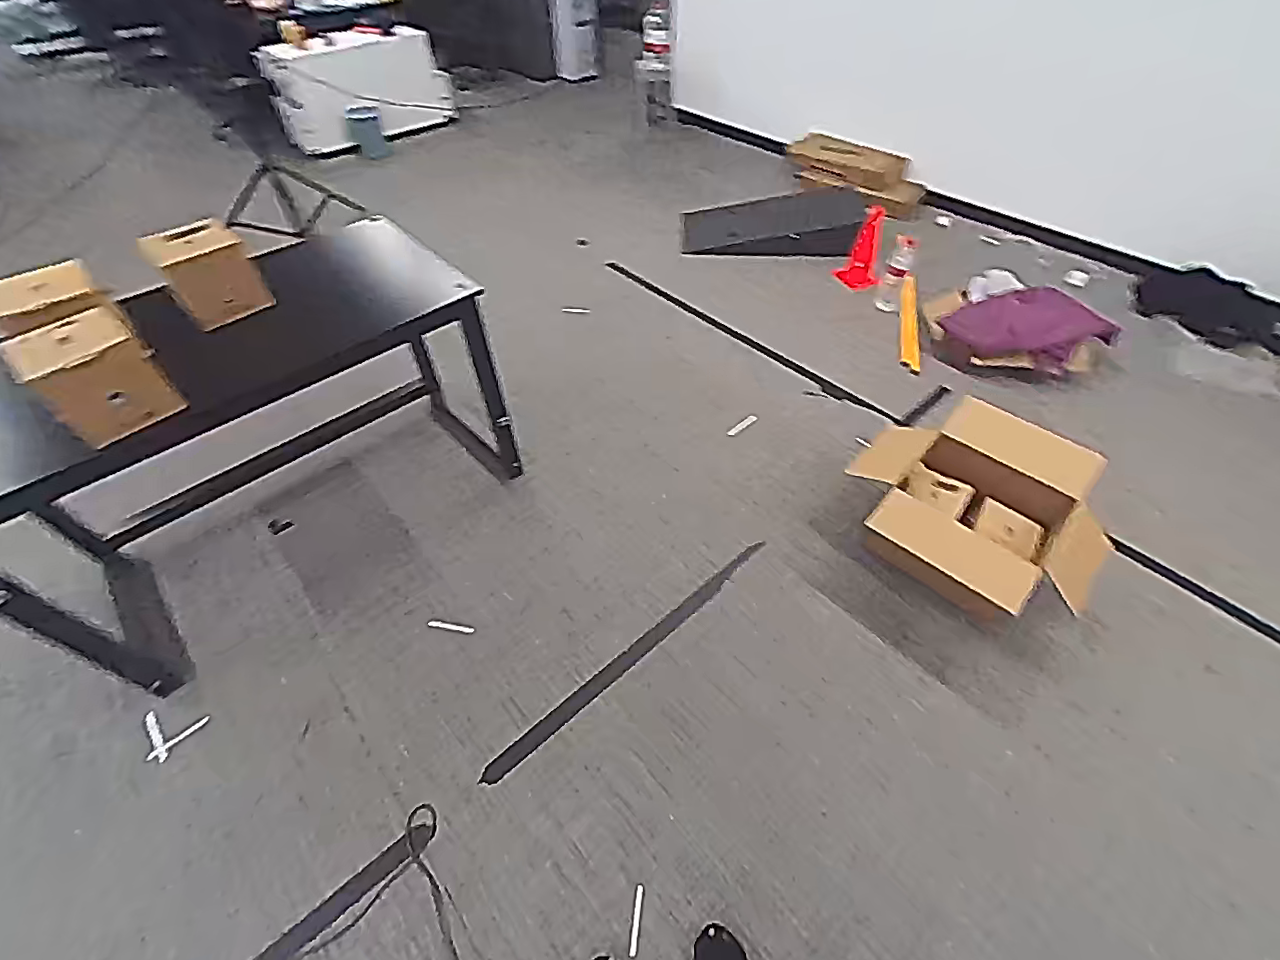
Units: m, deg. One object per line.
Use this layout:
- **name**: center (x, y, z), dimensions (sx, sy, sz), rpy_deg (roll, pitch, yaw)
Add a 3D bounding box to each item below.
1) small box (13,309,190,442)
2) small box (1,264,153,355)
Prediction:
- **small box**: center (-1.050, -0.201, 1.069), dimensions (0.179, 0.176, 0.168), rpy_deg (34, 58, 26)
- **small box**: center (-1.240, -0.346, 1.199), dimensions (0.168, 0.176, 0.179), rpy_deg (-34, 57, -25)
